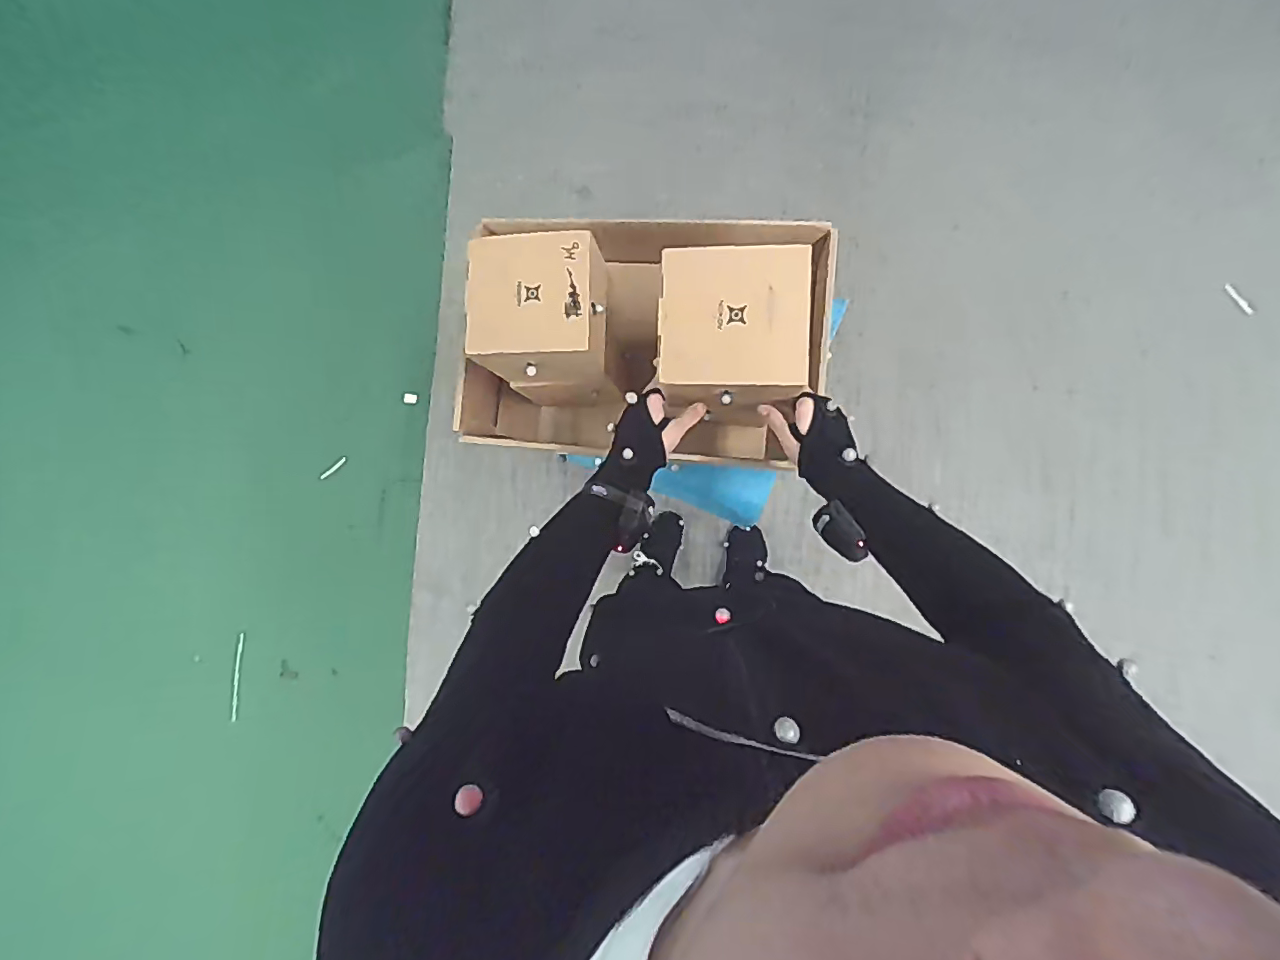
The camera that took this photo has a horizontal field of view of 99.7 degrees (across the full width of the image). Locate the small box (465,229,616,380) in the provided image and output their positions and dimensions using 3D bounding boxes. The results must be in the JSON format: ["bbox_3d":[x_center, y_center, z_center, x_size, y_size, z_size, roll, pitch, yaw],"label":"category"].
[{"bbox_3d":[-0.139,-0.248,0.803,0.179,0.176,0.168,0,87,8],"label":"small box"}]

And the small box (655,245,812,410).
[{"bbox_3d":[0.119,-0.187,0.705,0.179,0.176,0.168,2,88,8],"label":"small box"}]
